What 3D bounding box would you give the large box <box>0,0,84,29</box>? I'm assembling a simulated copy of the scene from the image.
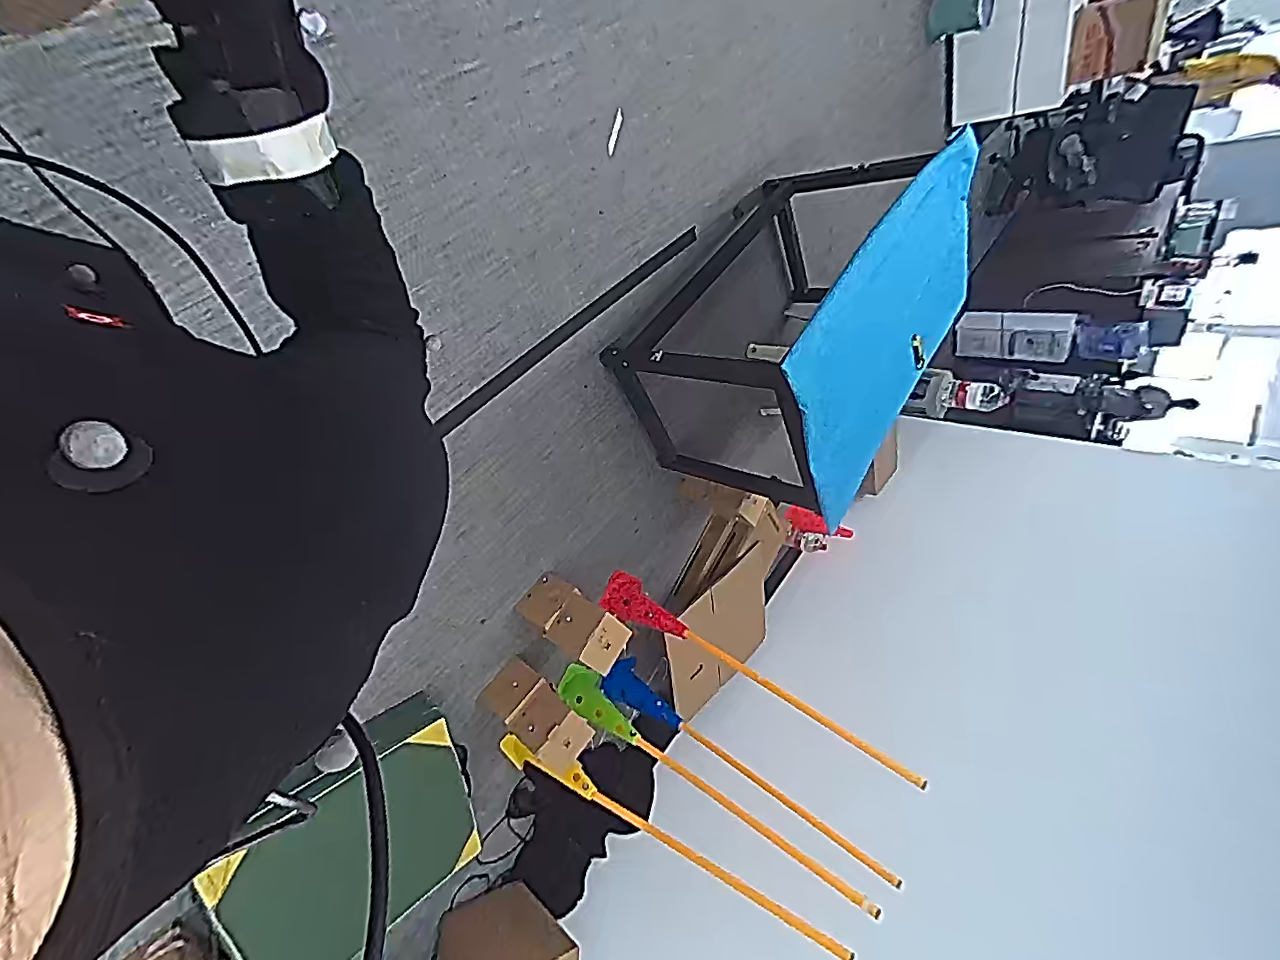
[{"bbox_3d":[-0.479,-0.294,0.131,0.408,0.320,0.320,-38,139,-31],"label":"large box"}]
